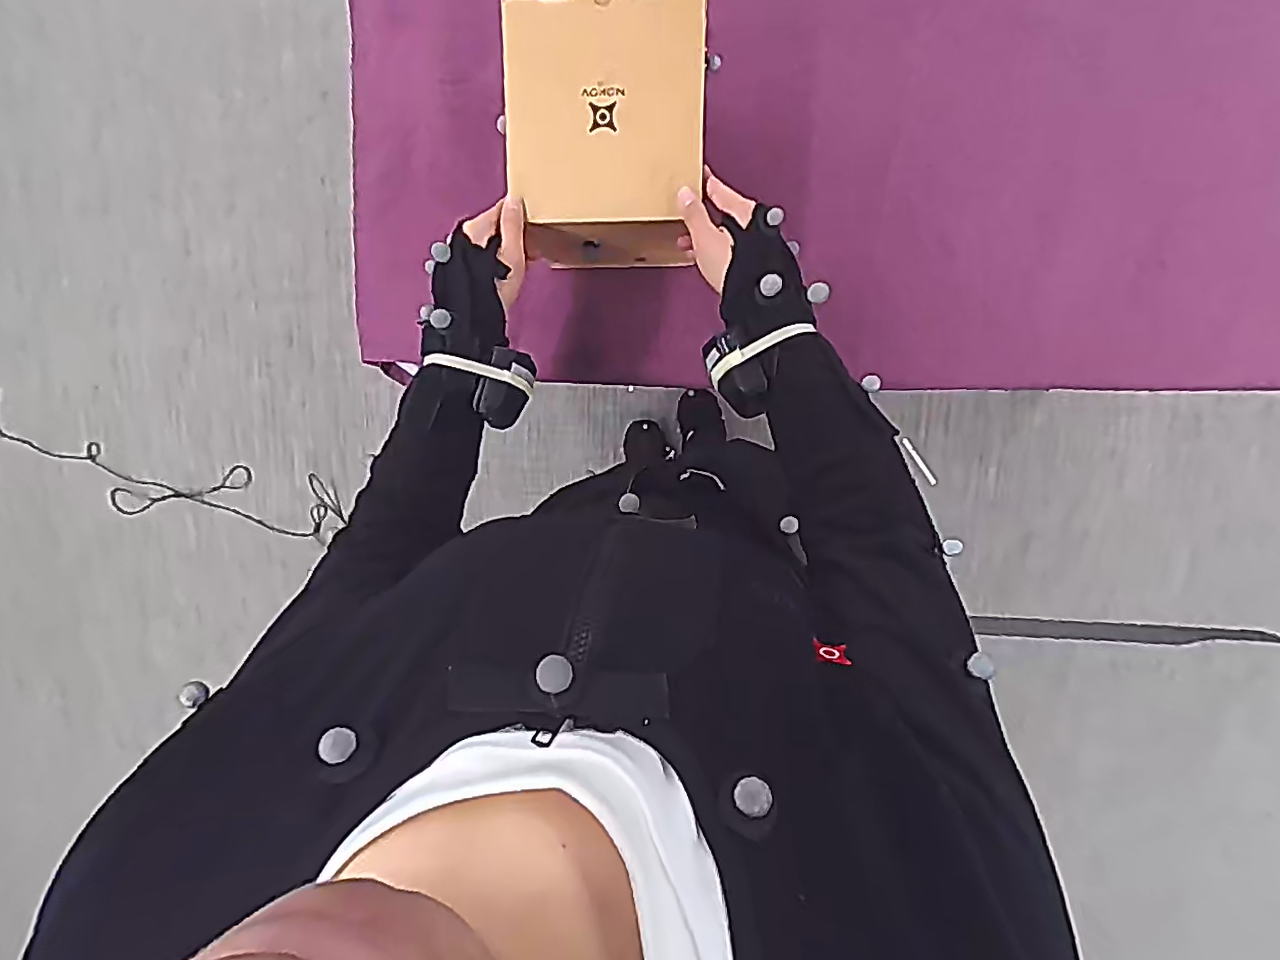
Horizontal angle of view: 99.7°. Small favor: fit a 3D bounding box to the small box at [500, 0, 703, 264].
[{"bbox_3d":[-0.026,-0.314,0.520,0.168,0.176,0.179,0,97,4],"label":"small box"}]
